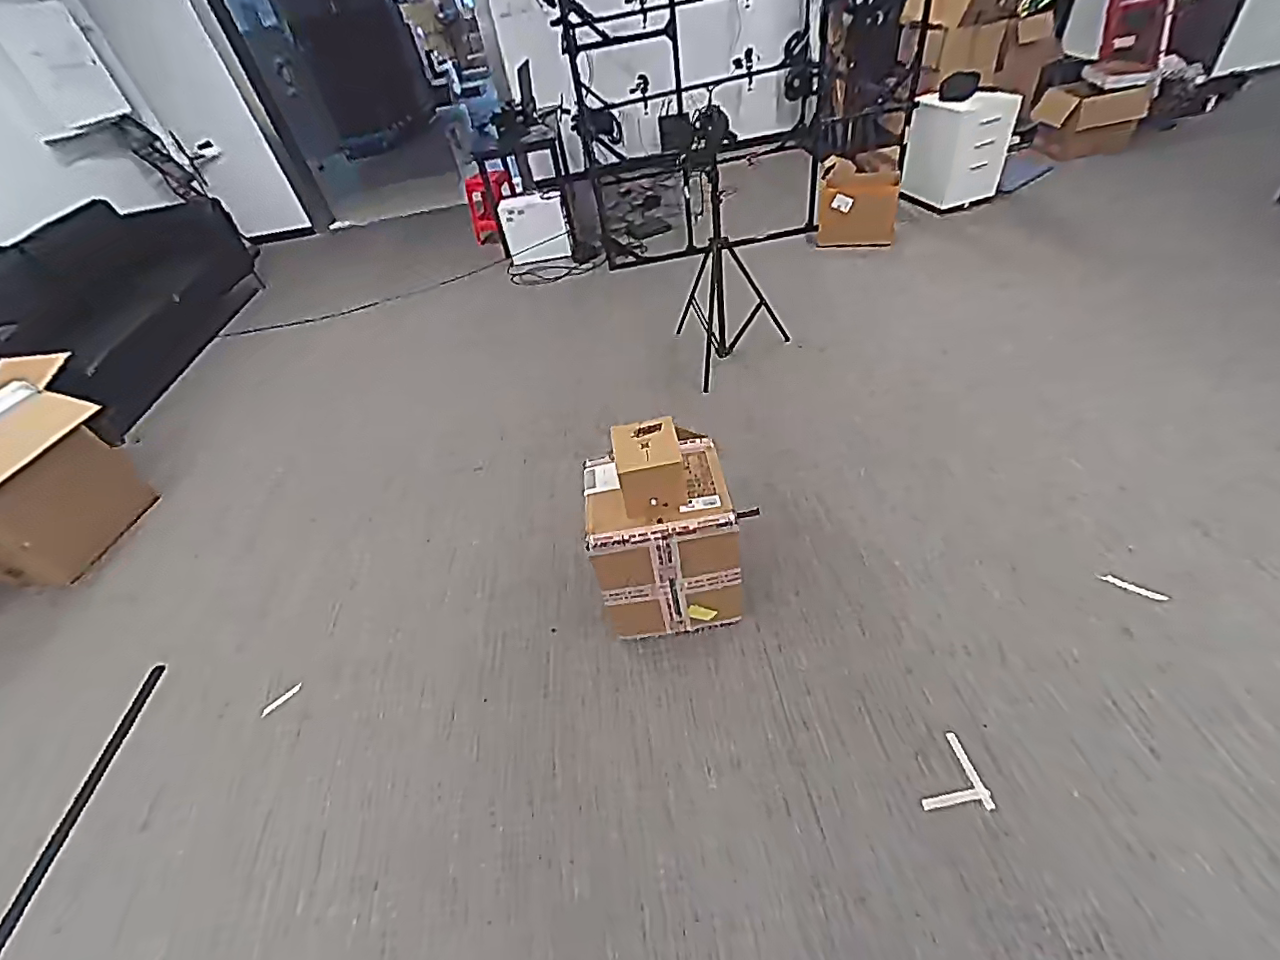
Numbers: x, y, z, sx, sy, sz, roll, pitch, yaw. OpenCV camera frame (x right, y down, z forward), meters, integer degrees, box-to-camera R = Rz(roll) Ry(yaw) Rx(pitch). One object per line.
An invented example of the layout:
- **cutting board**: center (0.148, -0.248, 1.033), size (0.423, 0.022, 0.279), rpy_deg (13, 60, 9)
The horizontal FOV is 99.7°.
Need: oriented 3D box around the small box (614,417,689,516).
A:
- **small box**: center (0.030, -0.034, 1.409), size (0.168, 0.176, 0.179), rpy_deg (-11, 47, 1)
